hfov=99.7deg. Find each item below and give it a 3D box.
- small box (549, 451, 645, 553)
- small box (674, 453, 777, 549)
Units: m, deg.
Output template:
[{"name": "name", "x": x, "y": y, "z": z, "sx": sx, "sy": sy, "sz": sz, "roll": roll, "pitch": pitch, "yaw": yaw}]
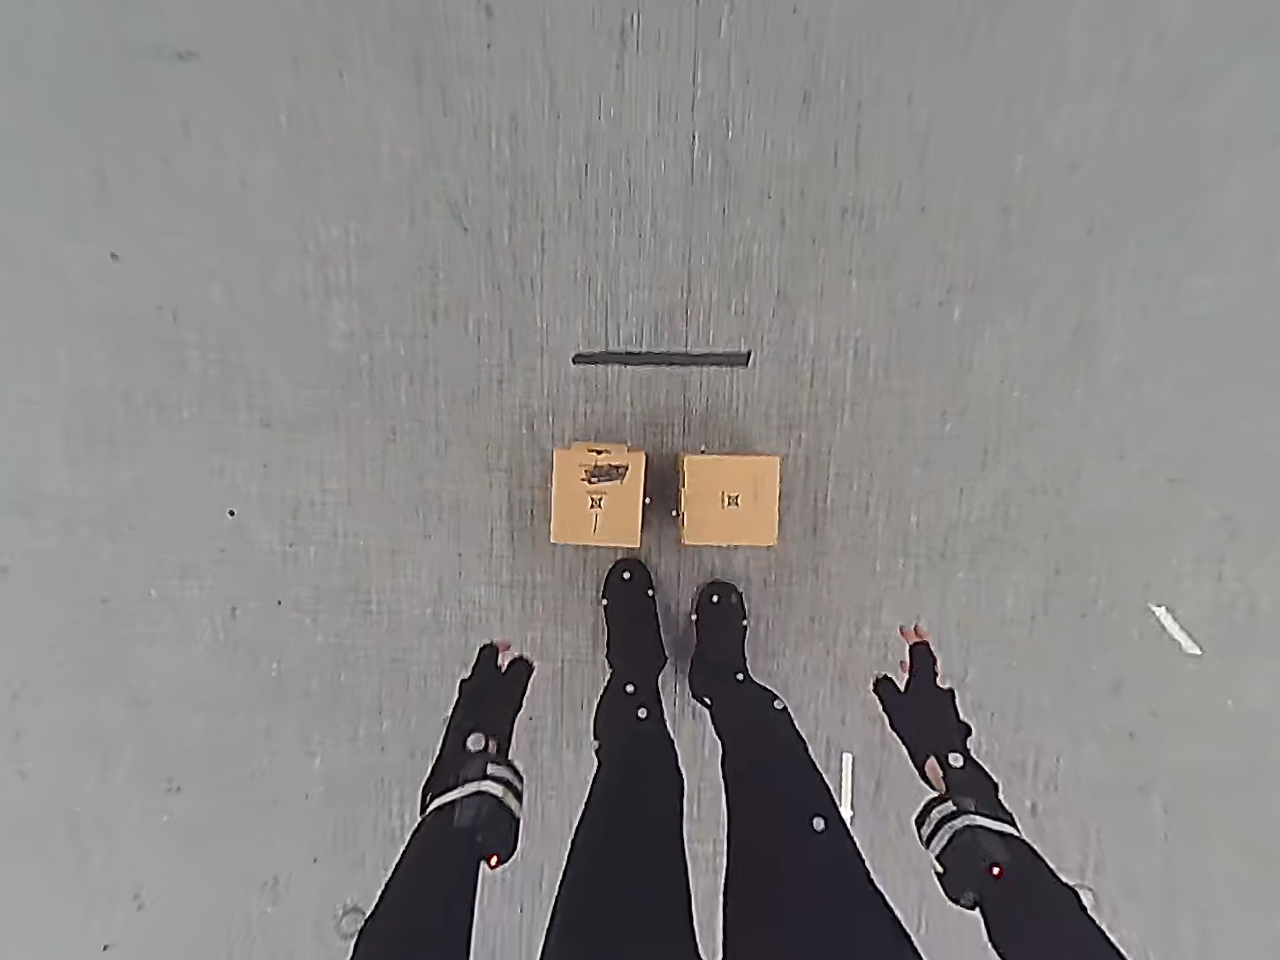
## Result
[{"name": "small box", "x": -0.080, "y": 0.035, "z": 1.059, "sx": 0.168, "sy": 0.176, "sz": 0.179, "roll": 4, "pitch": 96, "yaw": 0}, {"name": "small box", "x": 0.159, "y": 0.036, "z": 1.061, "sx": 0.179, "sy": 0.176, "sz": 0.168, "roll": 0, "pitch": 97, "yaw": -1}]
